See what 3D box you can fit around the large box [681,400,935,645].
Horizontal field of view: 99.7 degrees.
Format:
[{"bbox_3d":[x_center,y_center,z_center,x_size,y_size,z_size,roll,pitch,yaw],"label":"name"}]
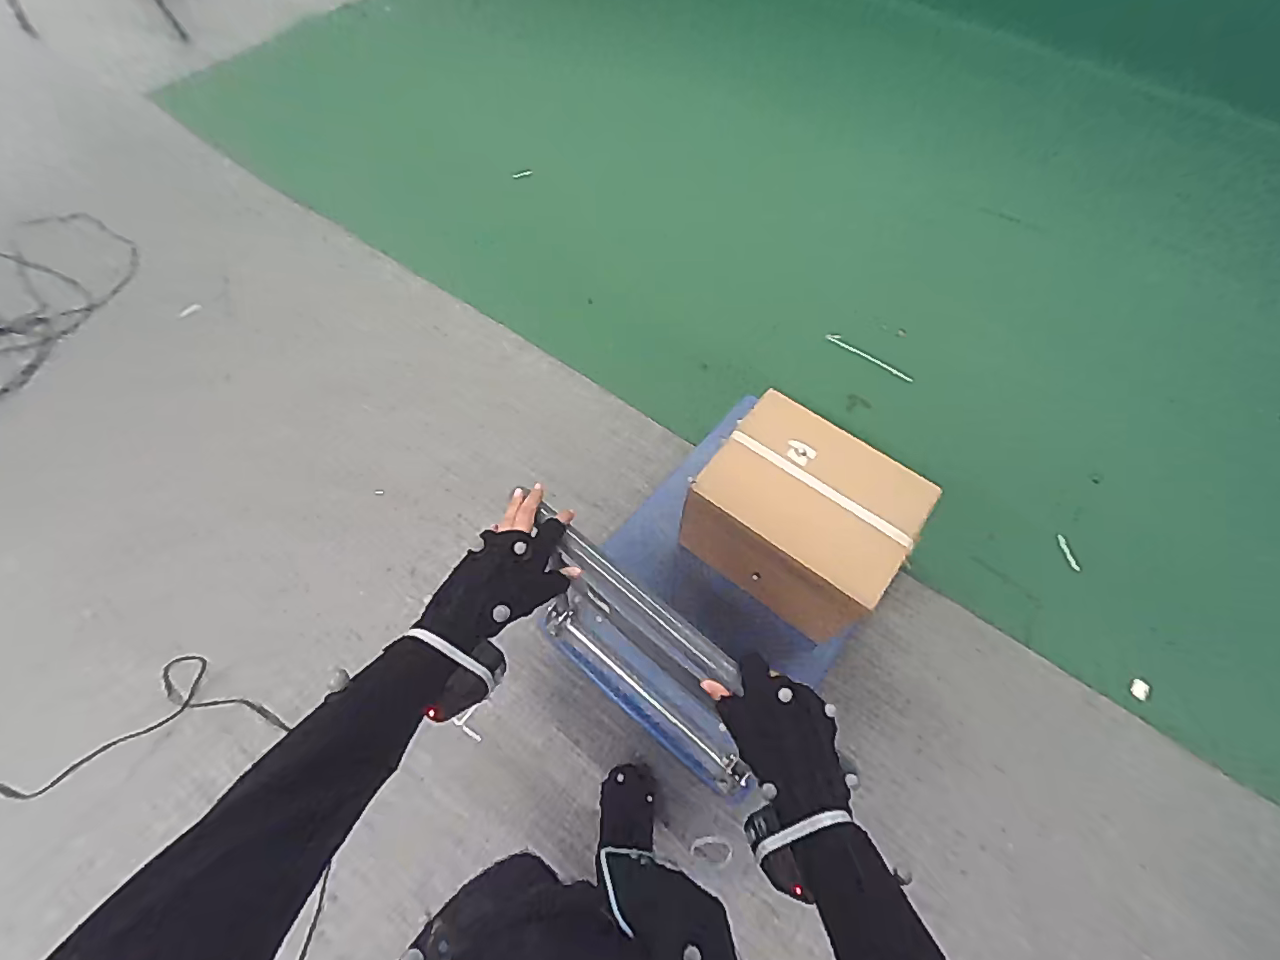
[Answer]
[{"bbox_3d":[0.347,0.102,1.214,0.408,0.320,0.320,35,66,17],"label":"large box"}]
